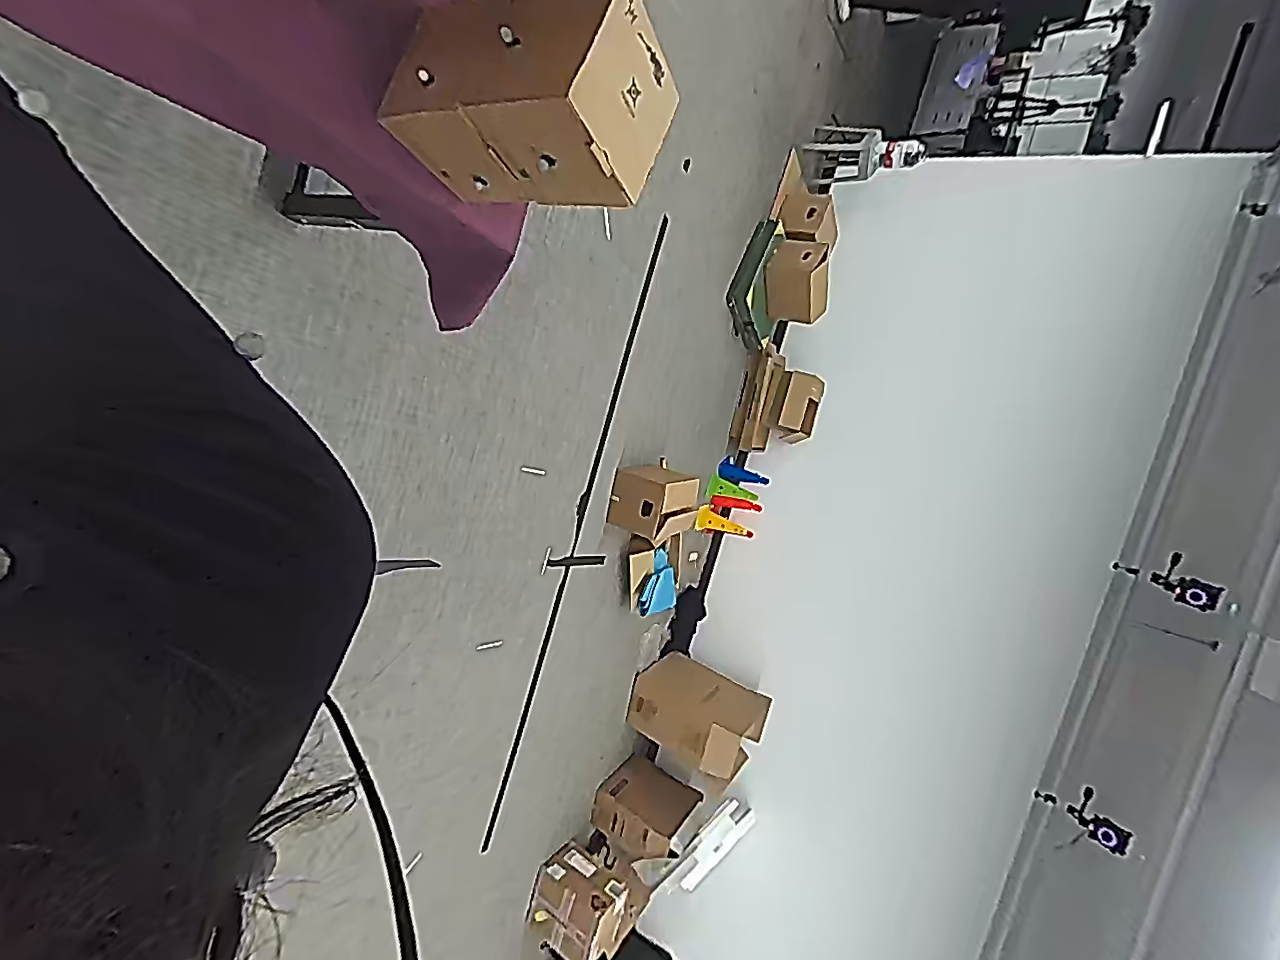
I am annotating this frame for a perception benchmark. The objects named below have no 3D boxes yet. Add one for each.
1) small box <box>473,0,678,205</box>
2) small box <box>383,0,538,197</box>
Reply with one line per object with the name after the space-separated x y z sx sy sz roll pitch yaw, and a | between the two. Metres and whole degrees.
-0.081 -0.482 0.685 0.179 0.176 0.168 -67 152 -8 | small box
-0.224 -0.526 0.756 0.168 0.176 0.179 29 79 -62 | small box
